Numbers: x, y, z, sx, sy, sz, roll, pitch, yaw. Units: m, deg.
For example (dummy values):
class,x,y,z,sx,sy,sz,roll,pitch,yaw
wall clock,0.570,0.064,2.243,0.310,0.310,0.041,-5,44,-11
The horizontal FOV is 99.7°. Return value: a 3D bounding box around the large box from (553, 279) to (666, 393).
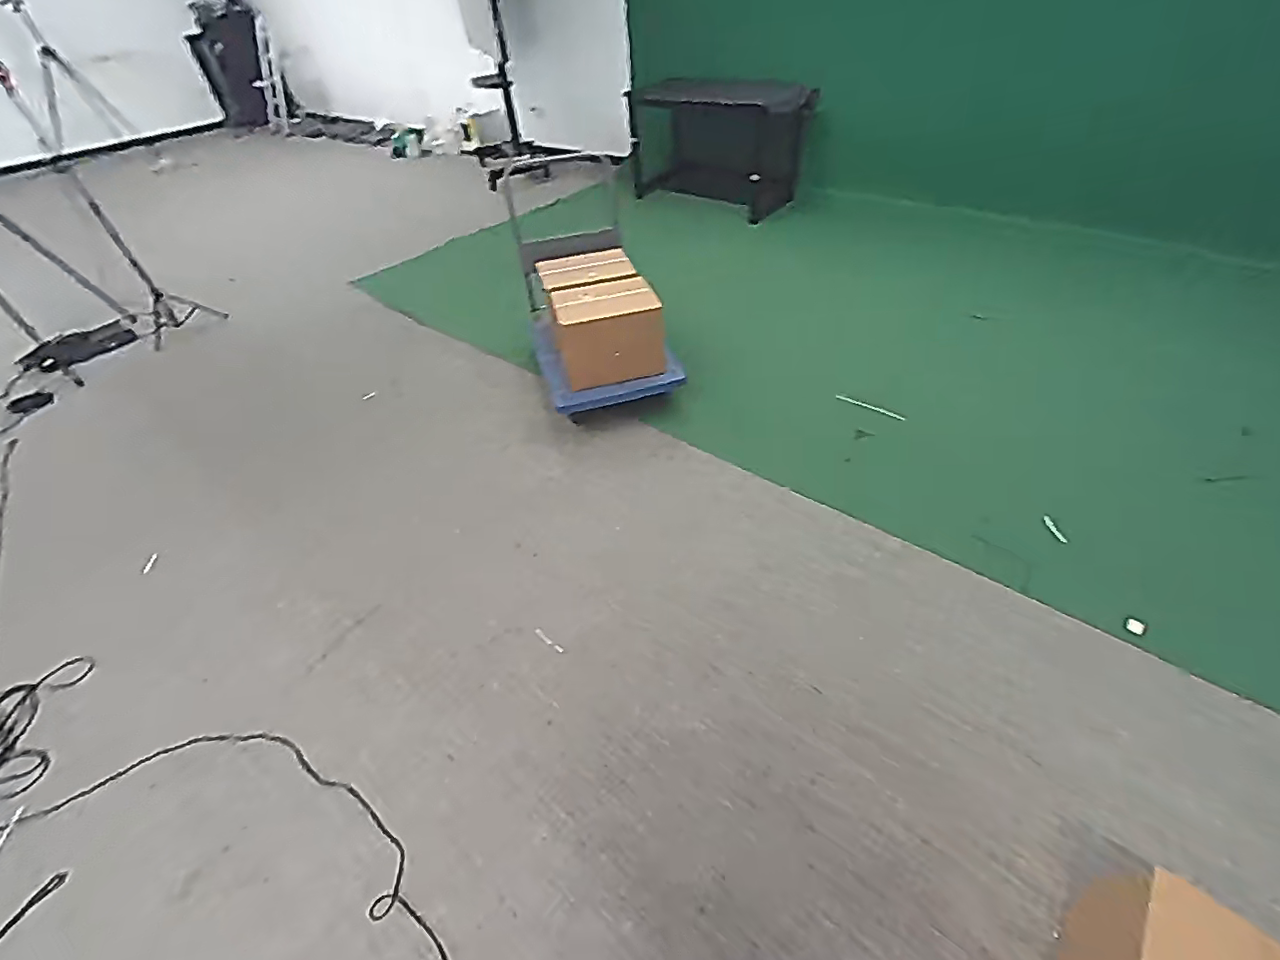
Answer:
class,x,y,z,sx,sy,sz,roll,pitch,yaw
large box,-0.126,-0.615,2.302,0.408,0.320,0.320,-13,44,-7
